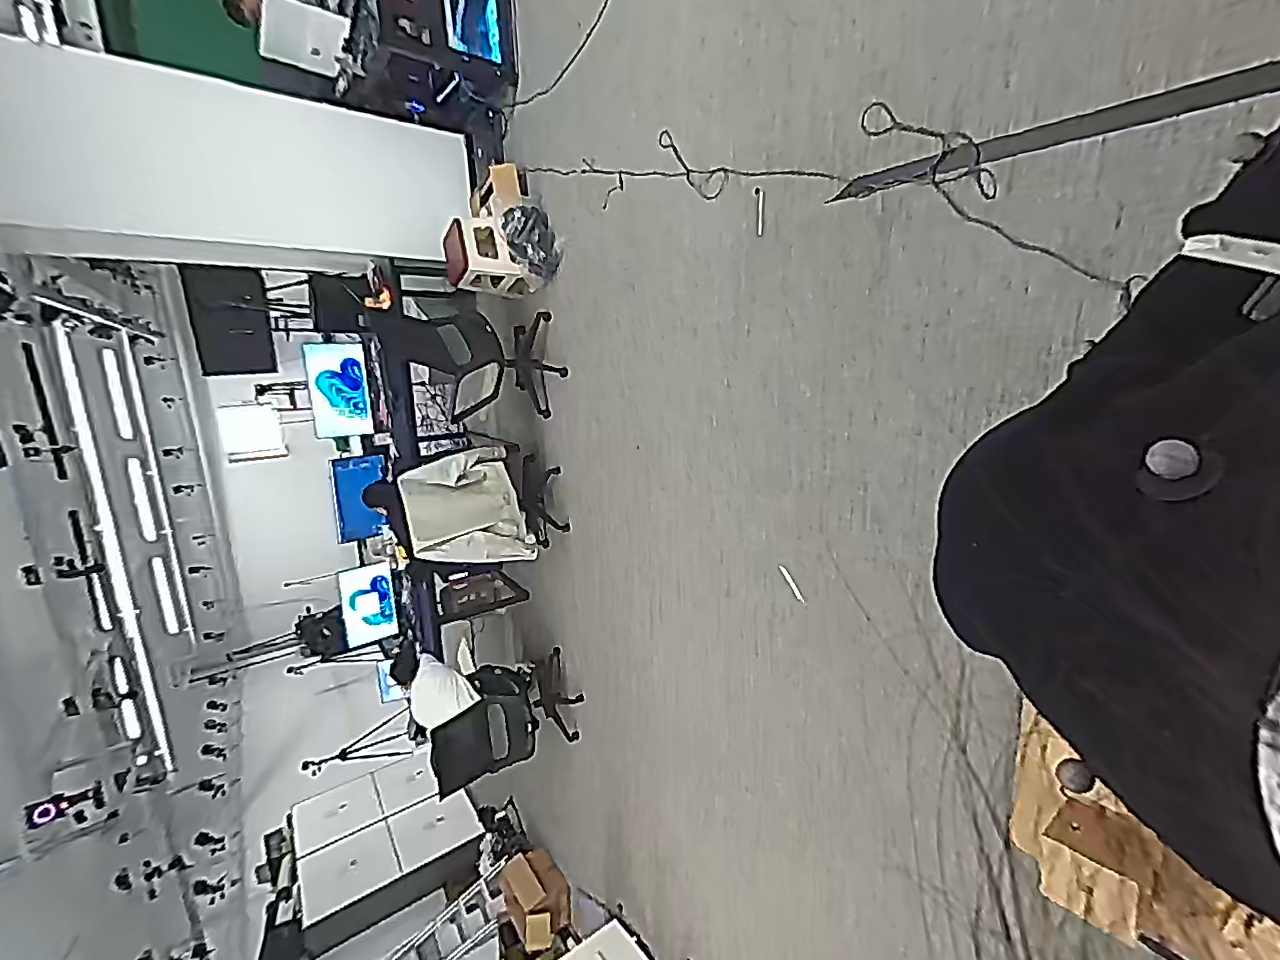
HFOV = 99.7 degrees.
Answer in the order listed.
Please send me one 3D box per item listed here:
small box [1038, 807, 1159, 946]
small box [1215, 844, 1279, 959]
[{"bbox_3d":[1.067,0.906,1.262,0.179,0.176,0.168,7,106,54],"label":"small box"},{"bbox_3d":[1.232,0.834,1.002,0.179,0.176,0.168,26,119,48],"label":"small box"}]
